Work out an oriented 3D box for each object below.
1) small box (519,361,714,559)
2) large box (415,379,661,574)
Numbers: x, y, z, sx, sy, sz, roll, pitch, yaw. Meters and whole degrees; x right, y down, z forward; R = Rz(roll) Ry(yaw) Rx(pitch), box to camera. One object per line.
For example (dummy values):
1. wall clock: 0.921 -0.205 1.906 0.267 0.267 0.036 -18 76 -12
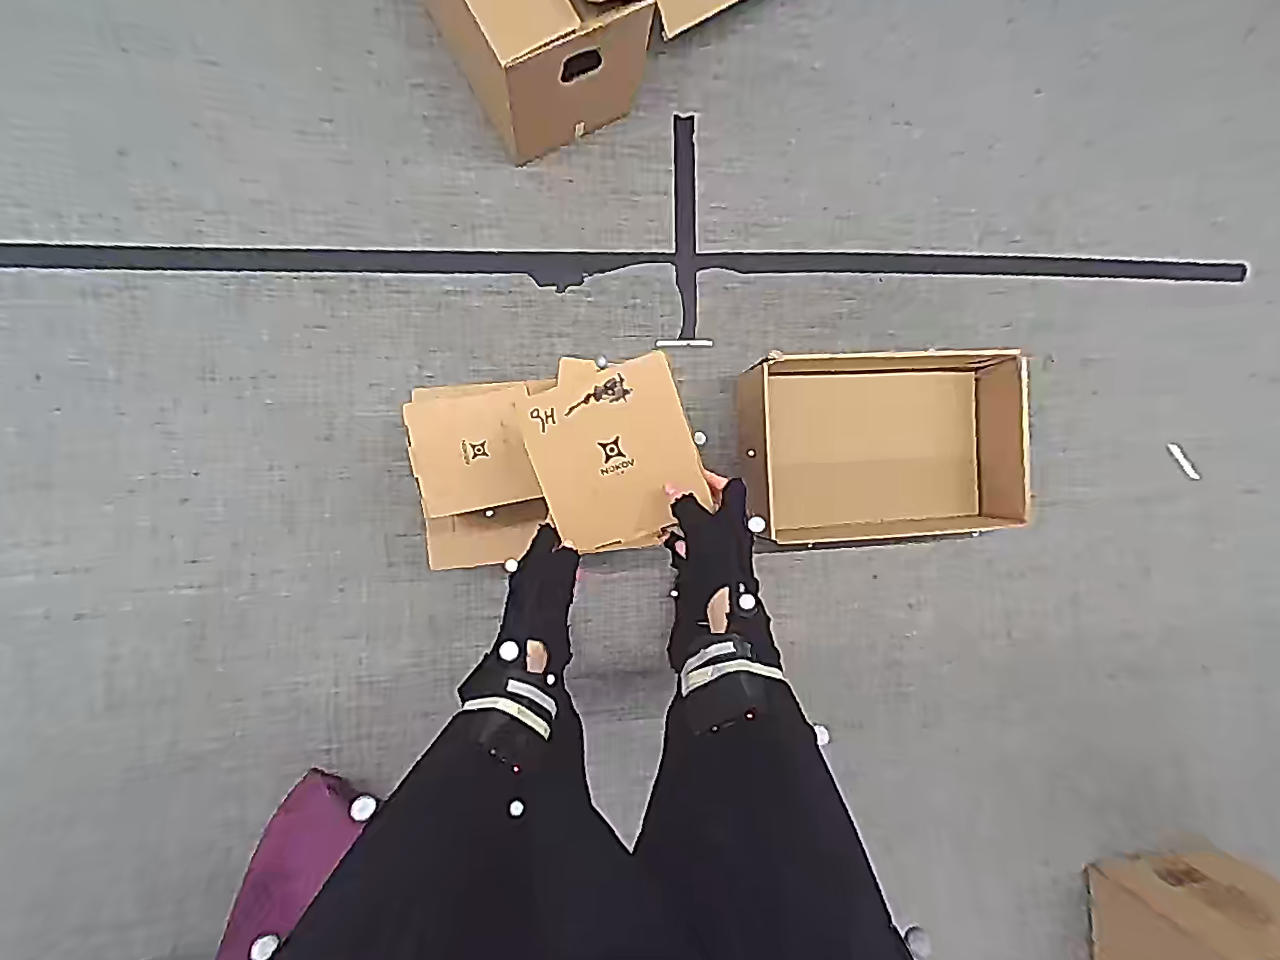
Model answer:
1. small box: -0.017 -0.032 0.634 0.168 0.176 0.179 -17 99 6
2. large box: -0.196 -0.012 1.096 0.408 0.320 0.320 -6 92 -9
